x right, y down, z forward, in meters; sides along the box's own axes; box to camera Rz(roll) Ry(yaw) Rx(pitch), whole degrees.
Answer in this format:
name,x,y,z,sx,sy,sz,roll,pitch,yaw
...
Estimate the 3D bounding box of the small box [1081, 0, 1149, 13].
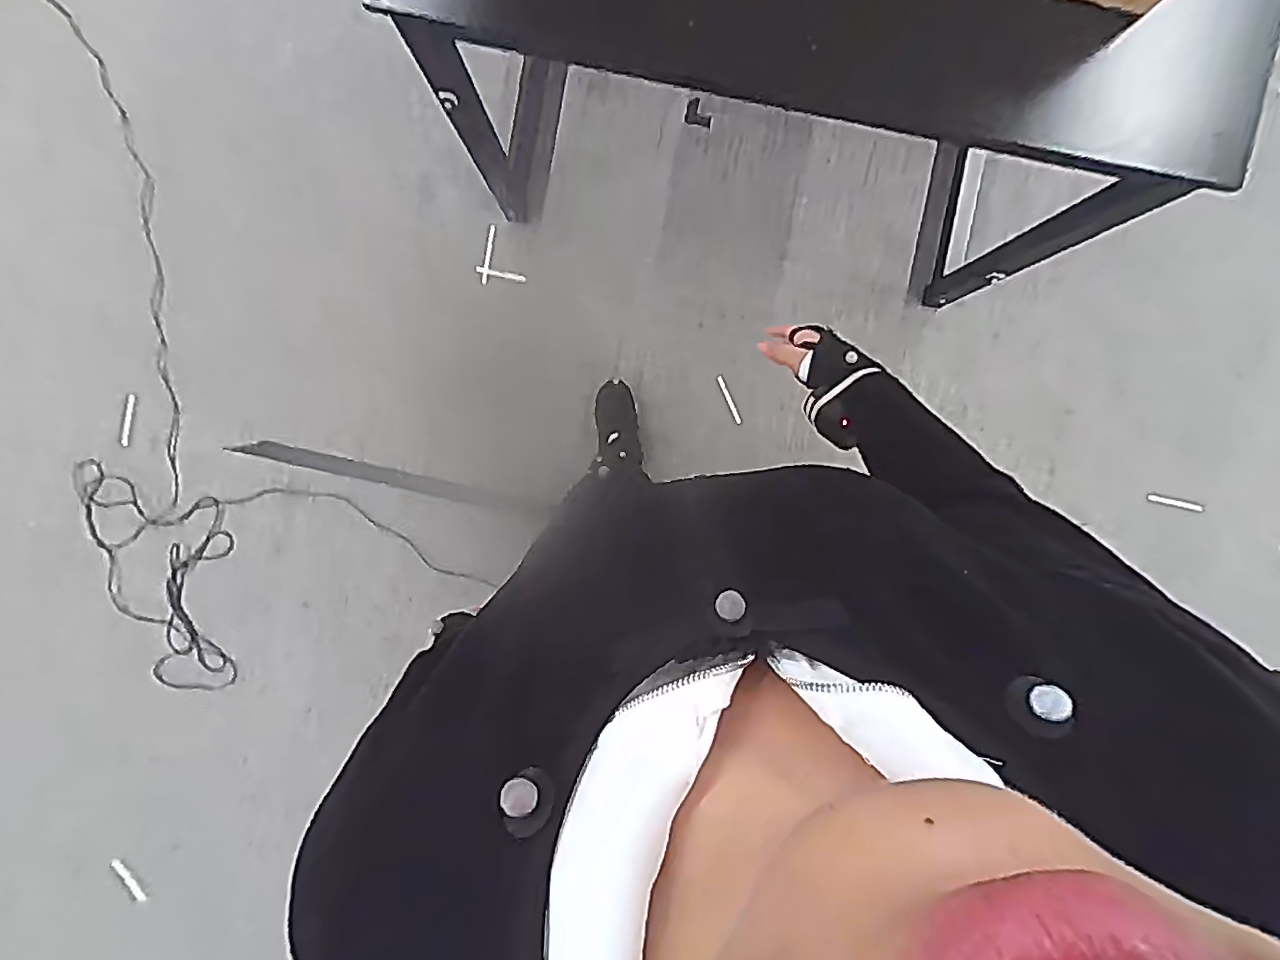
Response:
name,x,y,z,sx,sy,sz,roll,pitch,yaw
small box,0.608,-0.714,0.642,0.179,0.176,0.168,13,93,-2
